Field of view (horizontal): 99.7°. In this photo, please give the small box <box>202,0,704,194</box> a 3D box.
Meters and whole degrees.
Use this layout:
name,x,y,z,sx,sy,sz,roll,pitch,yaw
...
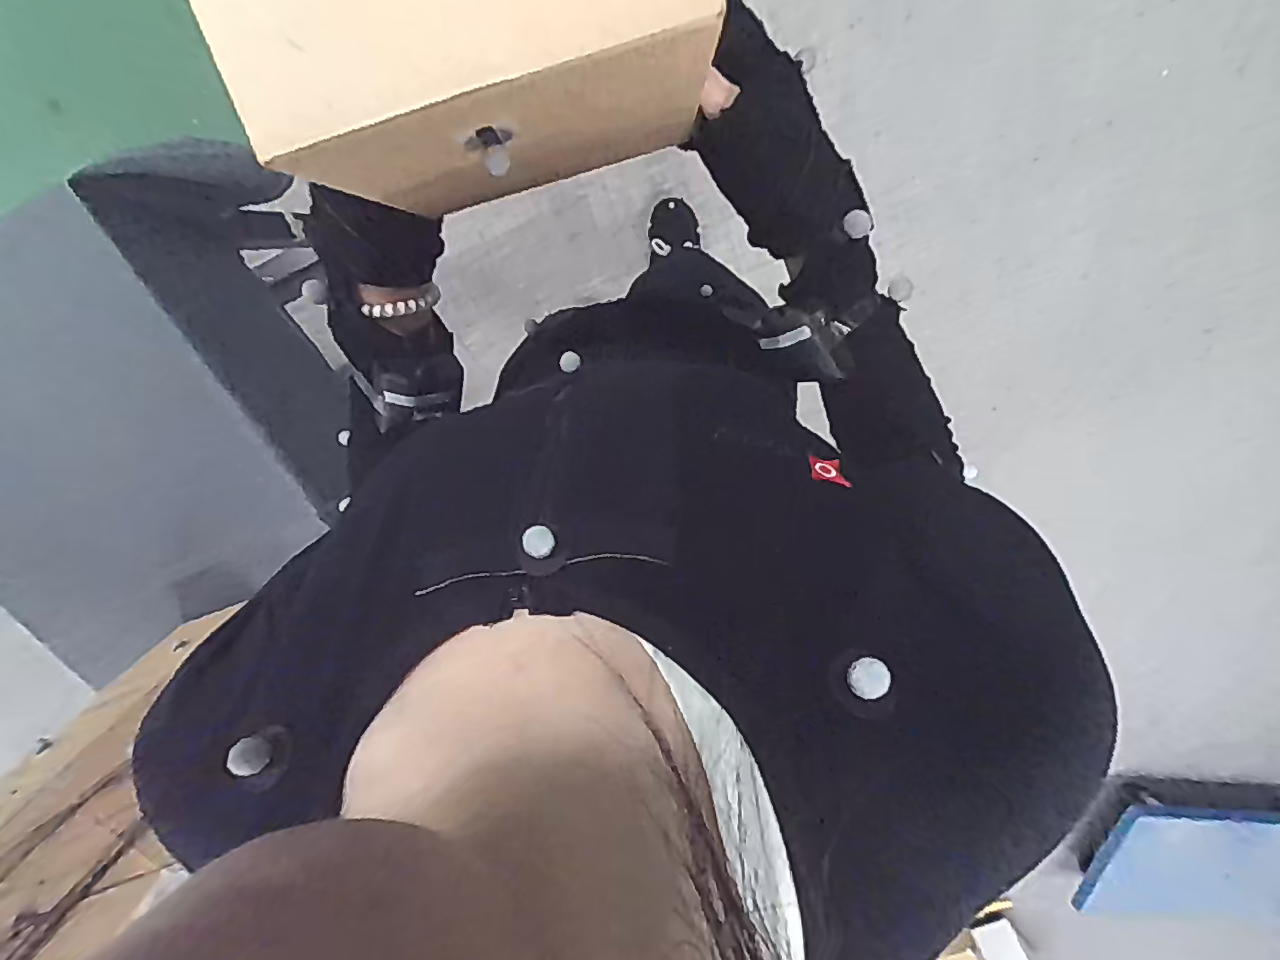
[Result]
name,x,y,z,sx,sy,sz,roll,pitch,yaw
small box,-0.073,-0.244,0.236,0.179,0.176,0.168,-14,109,5

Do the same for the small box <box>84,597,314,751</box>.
name,x,y,z,sx,sy,sz,roll,pitch,yaw
small box,-0.658,0.310,0.833,0.179,0.176,0.168,-20,112,10

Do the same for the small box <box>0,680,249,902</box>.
name,x,y,z,sx,sy,sz,roll,pitch,yaw
small box,-0.665,0.380,0.686,0.168,0.176,0.179,-21,112,12
